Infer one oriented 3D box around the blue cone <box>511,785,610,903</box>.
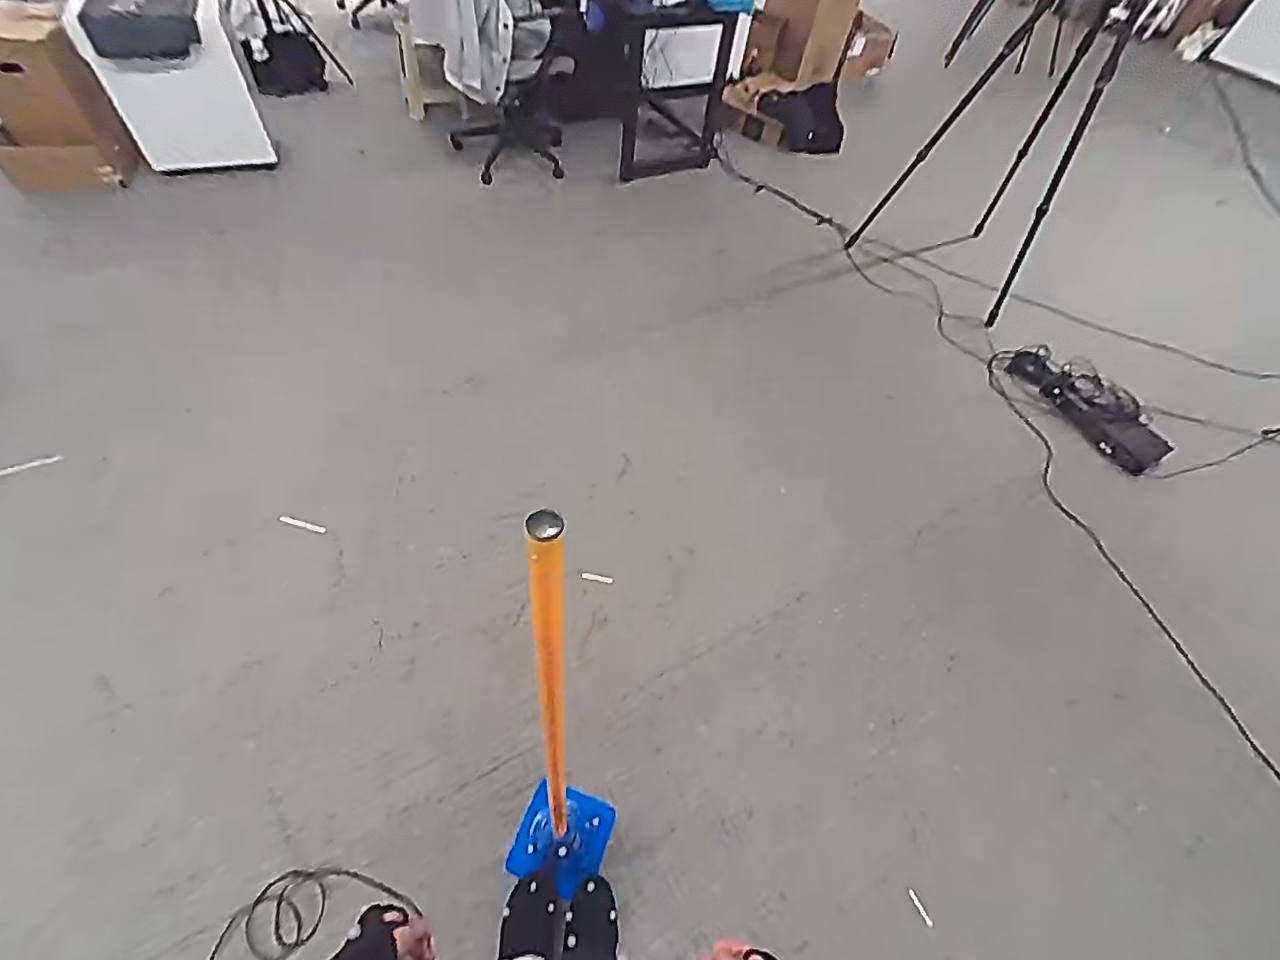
[{"bbox_3d":[-0.157,0.707,1.073,0.192,0.380,0.193,20,53,6],"label":"blue cone"}]
